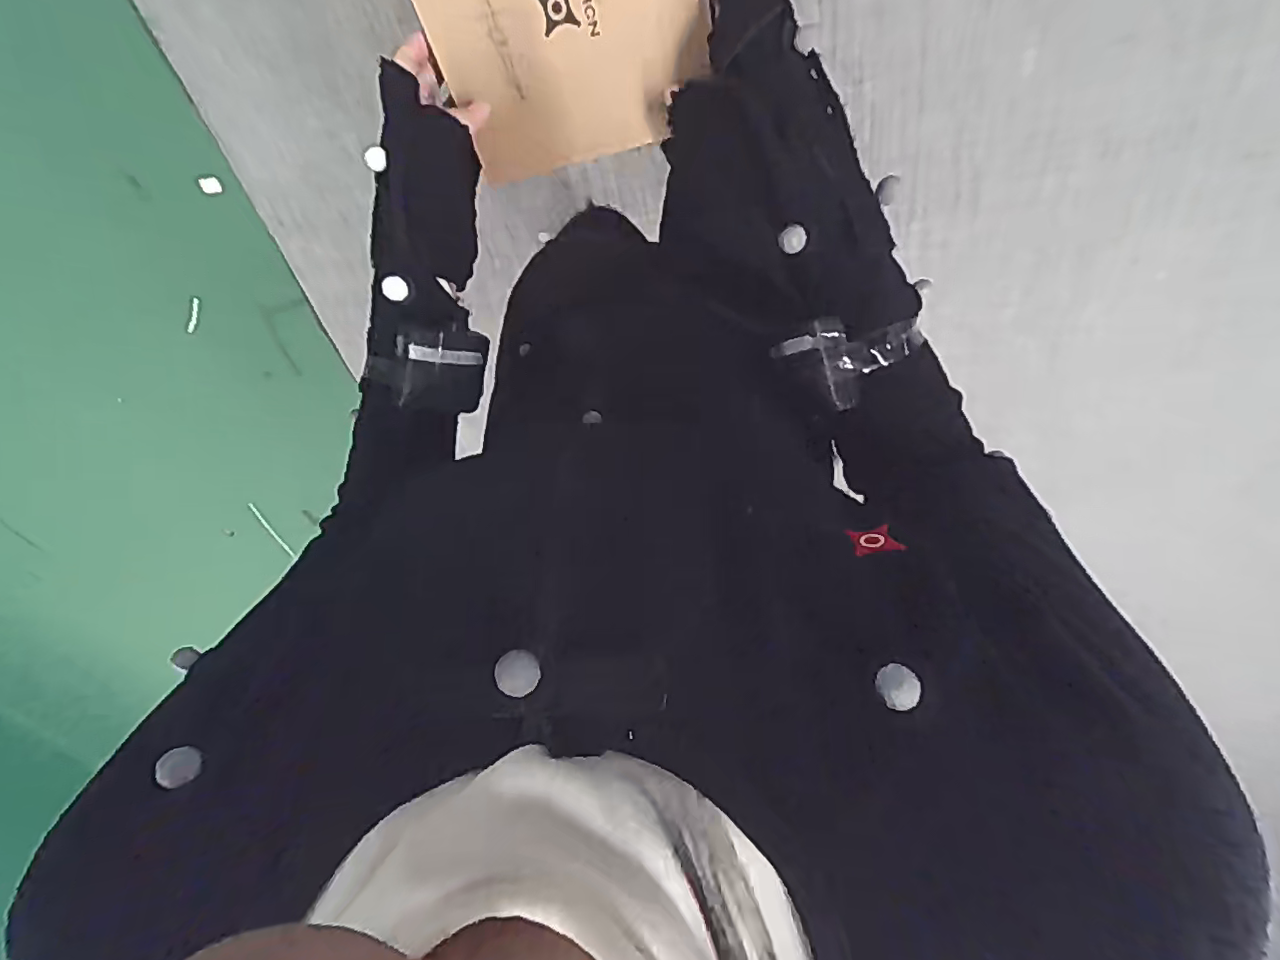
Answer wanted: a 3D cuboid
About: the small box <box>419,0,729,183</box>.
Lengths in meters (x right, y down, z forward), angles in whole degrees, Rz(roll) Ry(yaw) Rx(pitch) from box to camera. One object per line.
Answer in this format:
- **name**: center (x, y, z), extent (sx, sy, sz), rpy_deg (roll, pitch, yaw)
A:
- **small box**: center (-0.040, -0.345, 0.379), extent (0.179, 0.176, 0.168), rpy_deg (-8, 135, 15)
